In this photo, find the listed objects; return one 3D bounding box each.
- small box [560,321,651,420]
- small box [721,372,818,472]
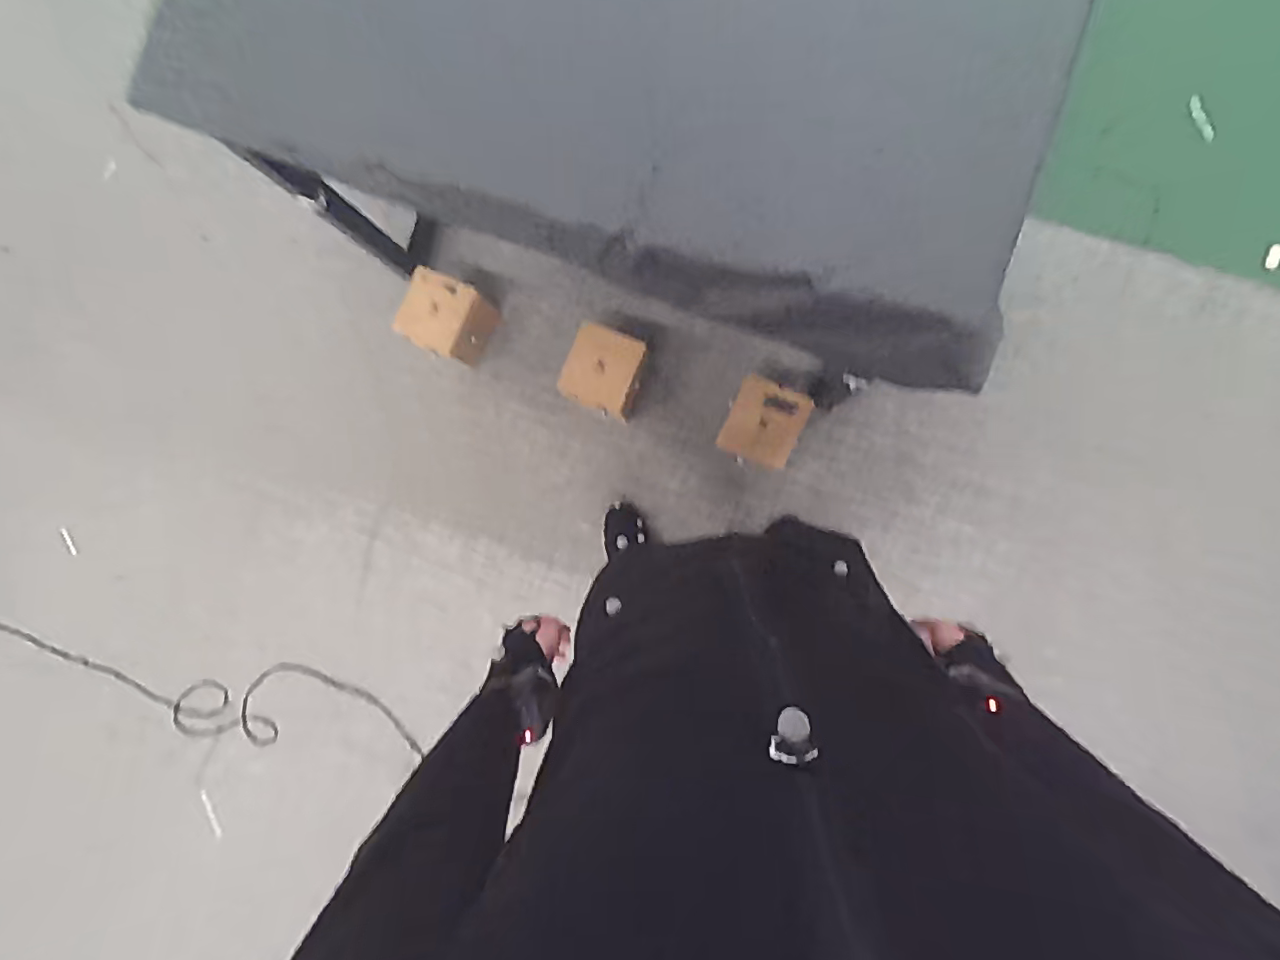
[{"bbox_3d":[-0.077,-0.264,1.353,0.168,0.176,0.179,22,89,6],"label":"small box"},{"bbox_3d":[0.299,-0.132,1.298,0.168,0.176,0.179,25,92,7],"label":"small box"}]
